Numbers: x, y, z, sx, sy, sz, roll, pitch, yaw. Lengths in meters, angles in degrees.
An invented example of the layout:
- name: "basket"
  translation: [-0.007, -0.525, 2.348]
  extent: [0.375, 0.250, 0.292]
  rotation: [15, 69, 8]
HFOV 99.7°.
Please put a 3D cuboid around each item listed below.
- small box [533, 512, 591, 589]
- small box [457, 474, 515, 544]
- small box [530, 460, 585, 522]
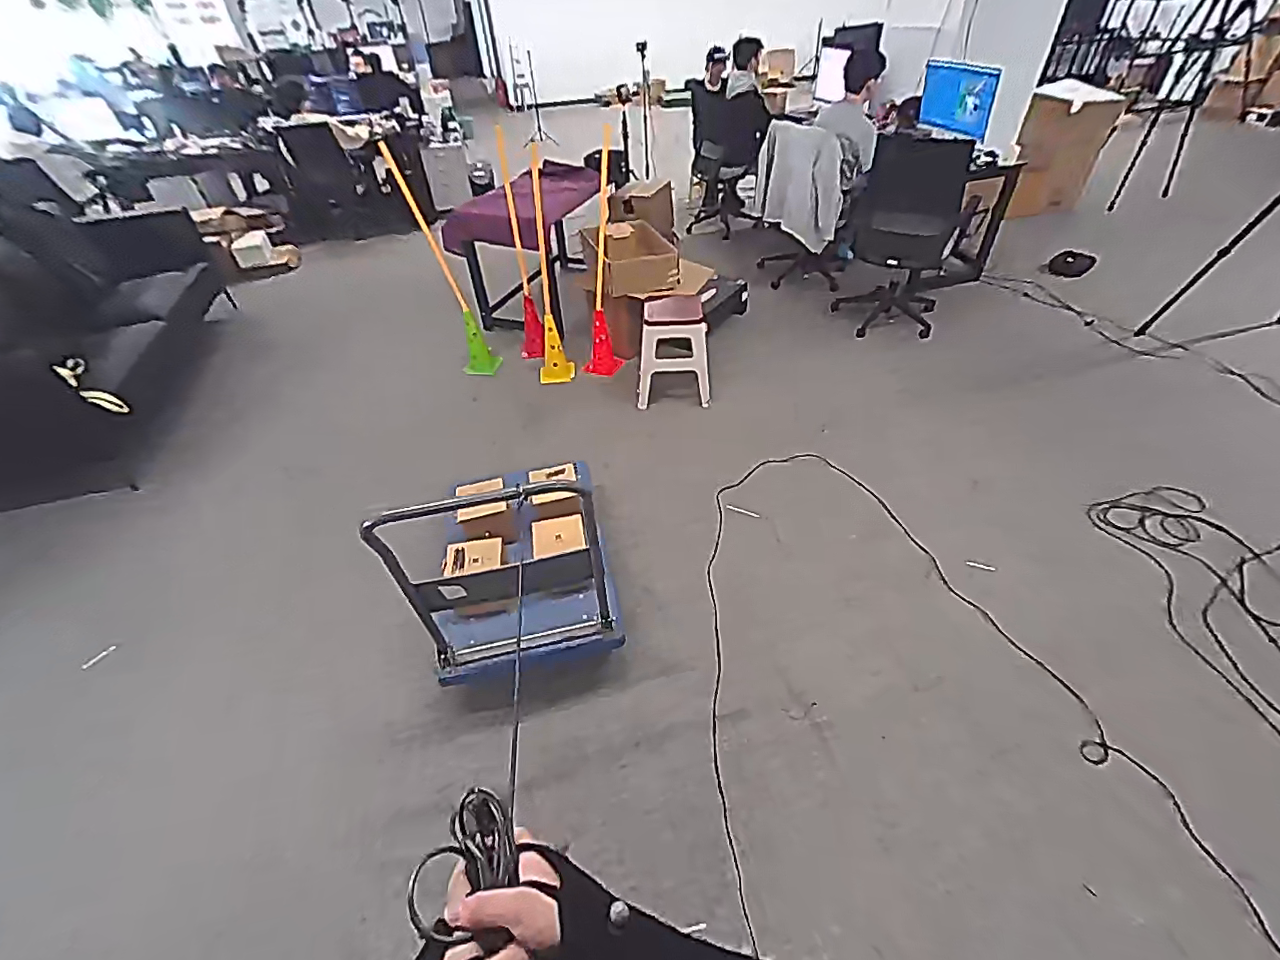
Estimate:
- name: "small box"
  translation: [-0.257, 0.233, 1.784]
  extent: [0.168, 0.176, 0.179]
  rotation: [-9, 45, -6]
- name: "small box"
  translation: [-0.551, 0.111, 1.936]
  extent: [0.168, 0.176, 0.179]
  rotation: [-13, 44, -10]
- name: "small box"
  translation: [-0.301, 0.058, 1.971]
  extent: [0.168, 0.176, 0.179]
  rotation: [-12, 44, -7]
